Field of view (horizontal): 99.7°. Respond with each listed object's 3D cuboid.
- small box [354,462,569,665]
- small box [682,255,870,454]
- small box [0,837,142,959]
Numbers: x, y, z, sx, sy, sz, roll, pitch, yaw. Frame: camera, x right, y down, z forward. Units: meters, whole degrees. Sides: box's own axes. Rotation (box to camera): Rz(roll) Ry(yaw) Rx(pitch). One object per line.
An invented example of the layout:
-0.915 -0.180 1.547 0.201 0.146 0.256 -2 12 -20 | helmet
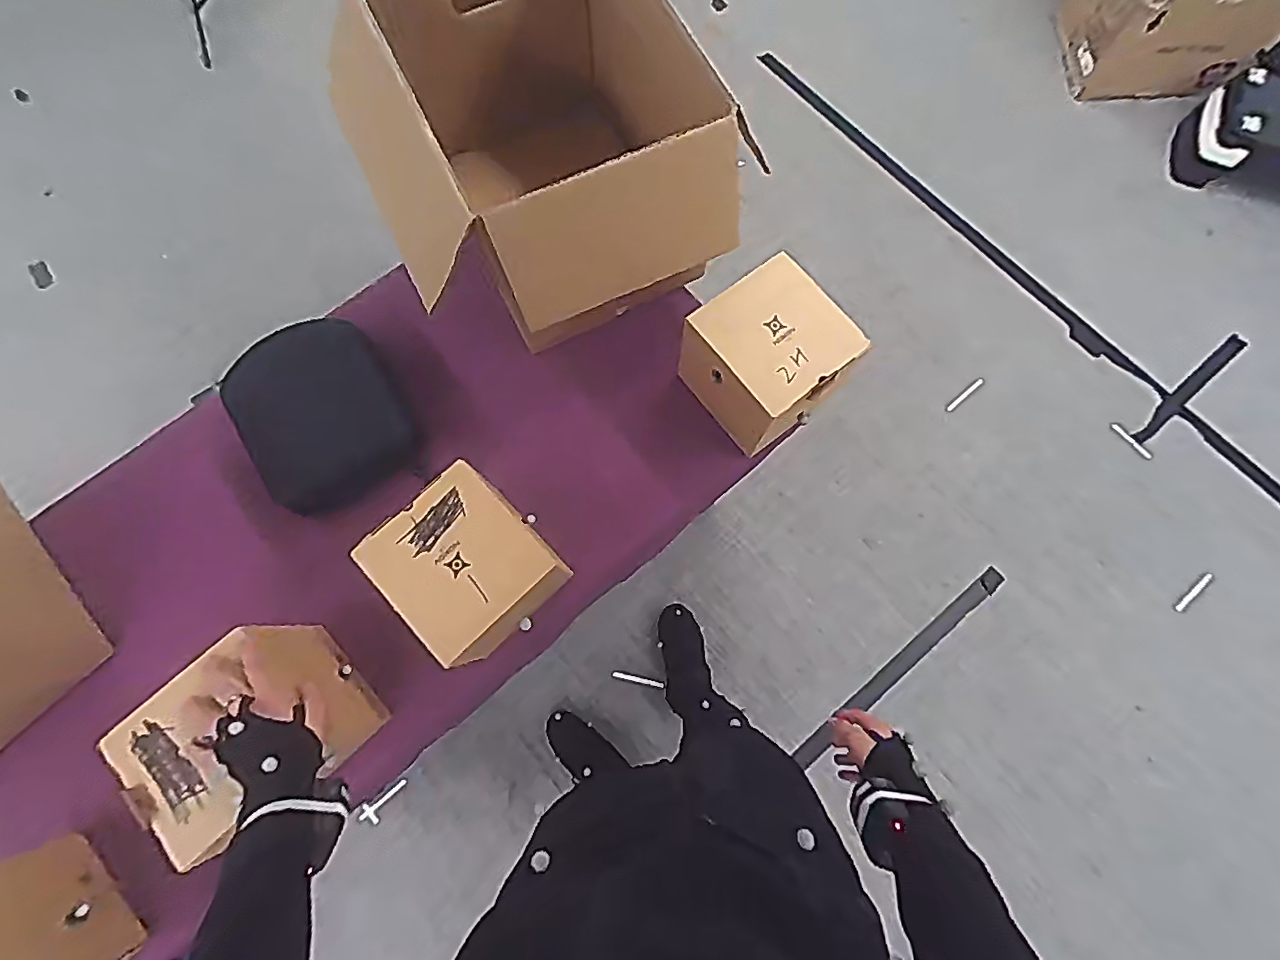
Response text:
-0.212 0.110 0.691 0.168 0.176 0.179 -43 80 -9 | small box
0.172 -0.164 0.756 0.168 0.176 0.179 -36 78 -7 | small box
-0.718 0.542 0.584 0.179 0.176 0.168 -43 79 -11 | small box
